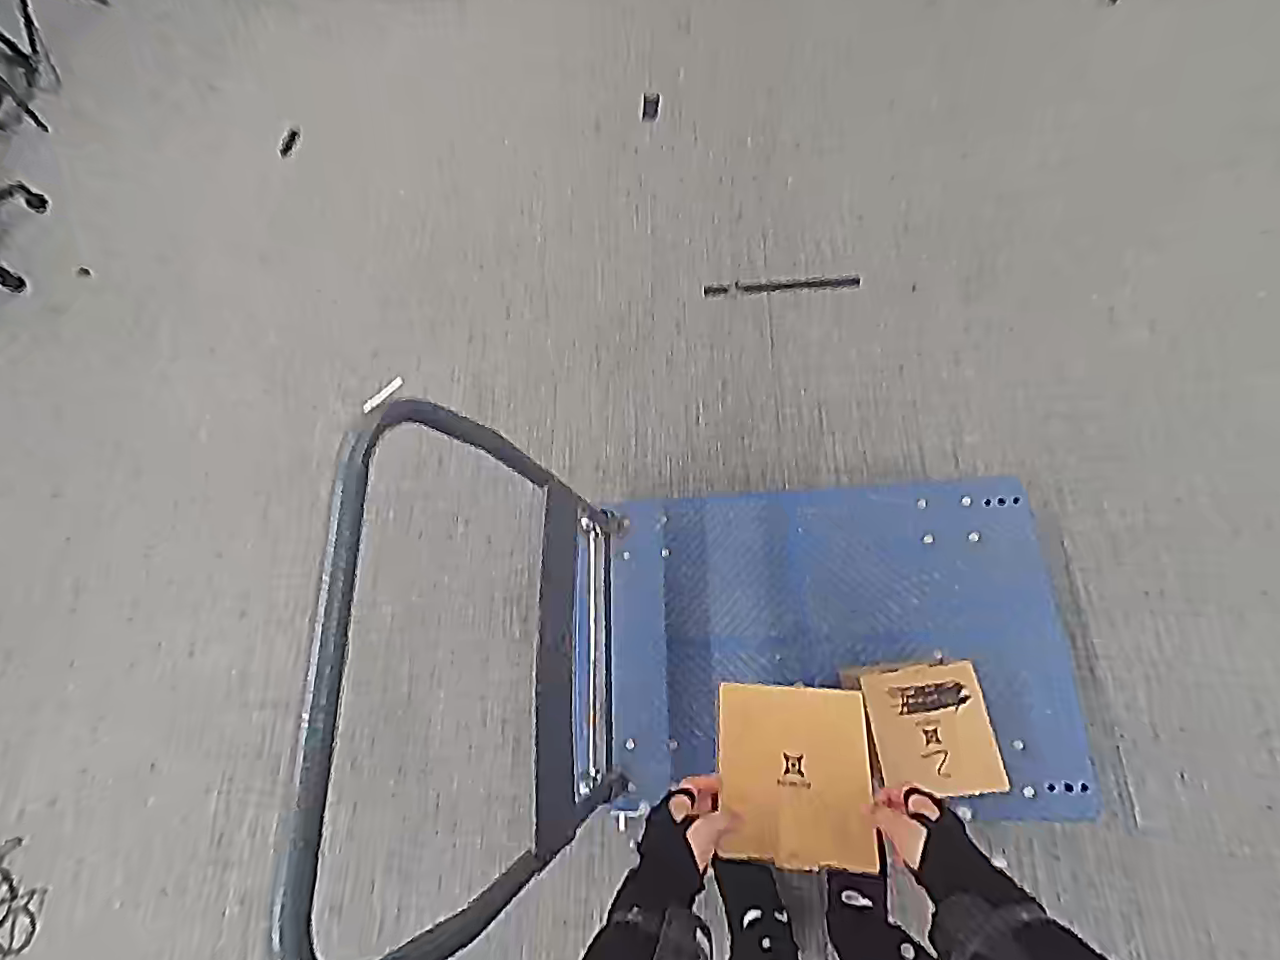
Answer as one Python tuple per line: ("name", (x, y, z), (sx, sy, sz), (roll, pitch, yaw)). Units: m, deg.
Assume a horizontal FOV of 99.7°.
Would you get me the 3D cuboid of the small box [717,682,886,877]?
("small box", (0.179, 0.351, 0.655), (0.168, 0.176, 0.179), (1, 64, 7))
